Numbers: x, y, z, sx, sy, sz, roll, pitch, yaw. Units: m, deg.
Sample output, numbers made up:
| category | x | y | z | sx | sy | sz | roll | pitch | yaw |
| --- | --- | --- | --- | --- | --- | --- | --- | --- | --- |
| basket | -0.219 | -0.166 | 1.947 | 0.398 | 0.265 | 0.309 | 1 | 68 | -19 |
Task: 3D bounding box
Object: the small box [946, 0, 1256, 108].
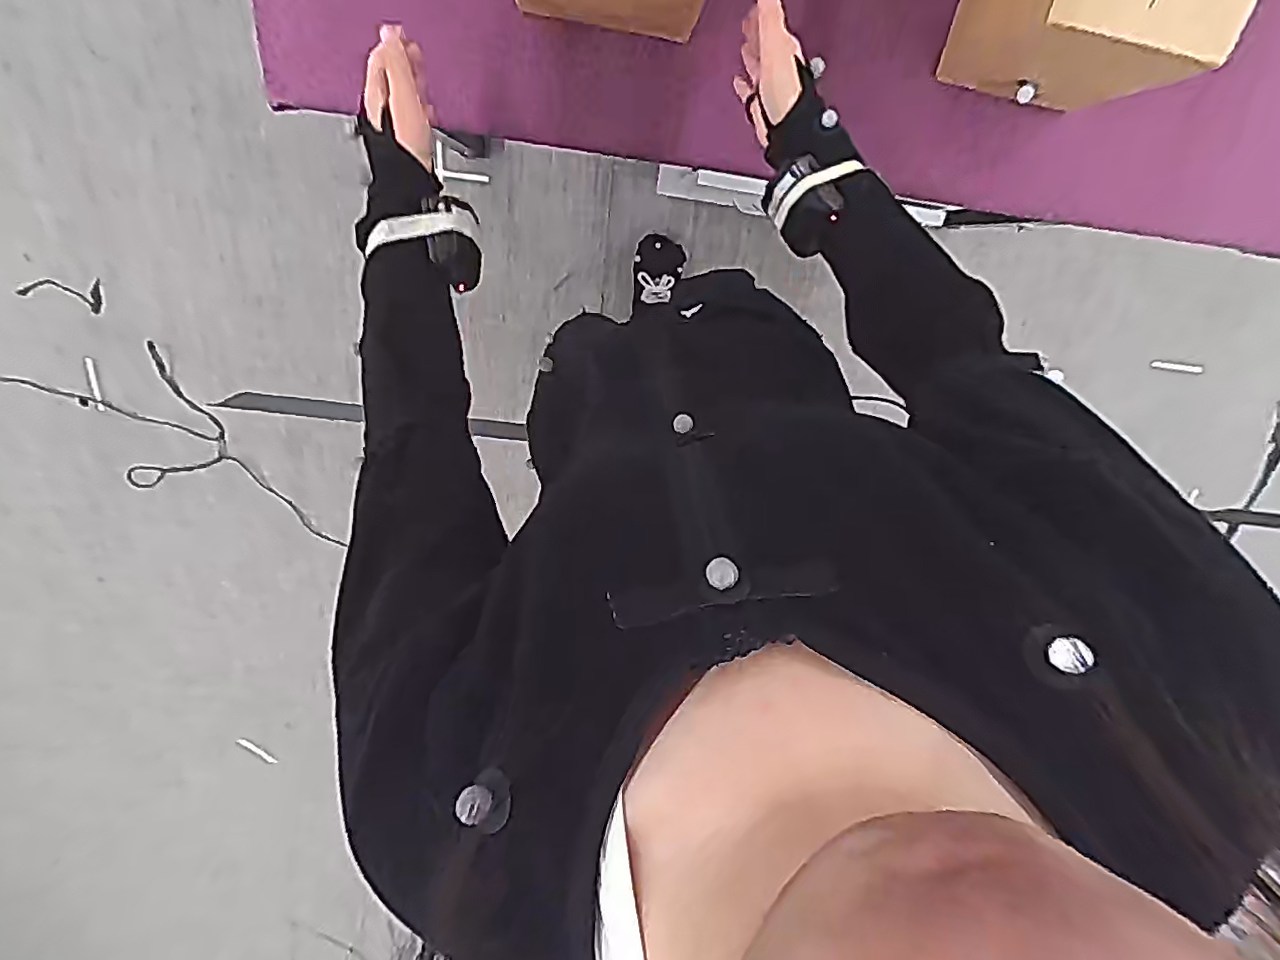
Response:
| category | x | y | z | sx | sy | sz | roll | pitch | yaw |
| --- | --- | --- | --- | --- | --- | --- | --- | --- | --- |
| small box | 0.414 | -0.466 | 0.480 | 0.168 | 0.176 | 0.179 | 8 | 112 | -6 |
